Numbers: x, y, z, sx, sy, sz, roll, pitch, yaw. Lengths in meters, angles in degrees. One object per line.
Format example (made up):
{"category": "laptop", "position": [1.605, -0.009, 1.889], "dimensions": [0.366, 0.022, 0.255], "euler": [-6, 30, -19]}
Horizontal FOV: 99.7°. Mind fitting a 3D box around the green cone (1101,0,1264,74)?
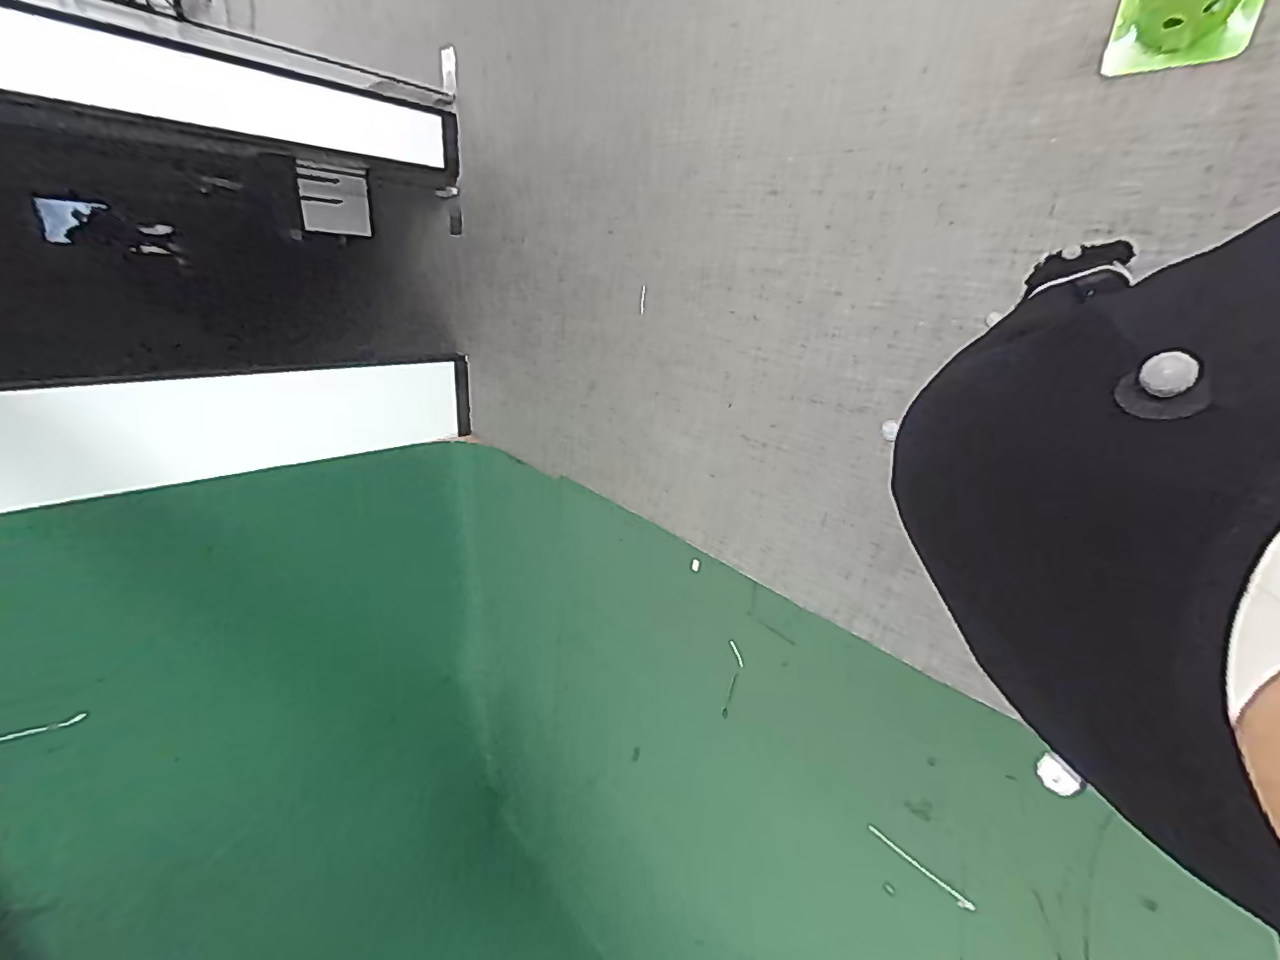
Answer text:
{"category": "green cone", "position": [0.843, -0.809, 0.836], "dimensions": [0.202, 0.368, 0.200], "euler": [23, 118, 40]}
